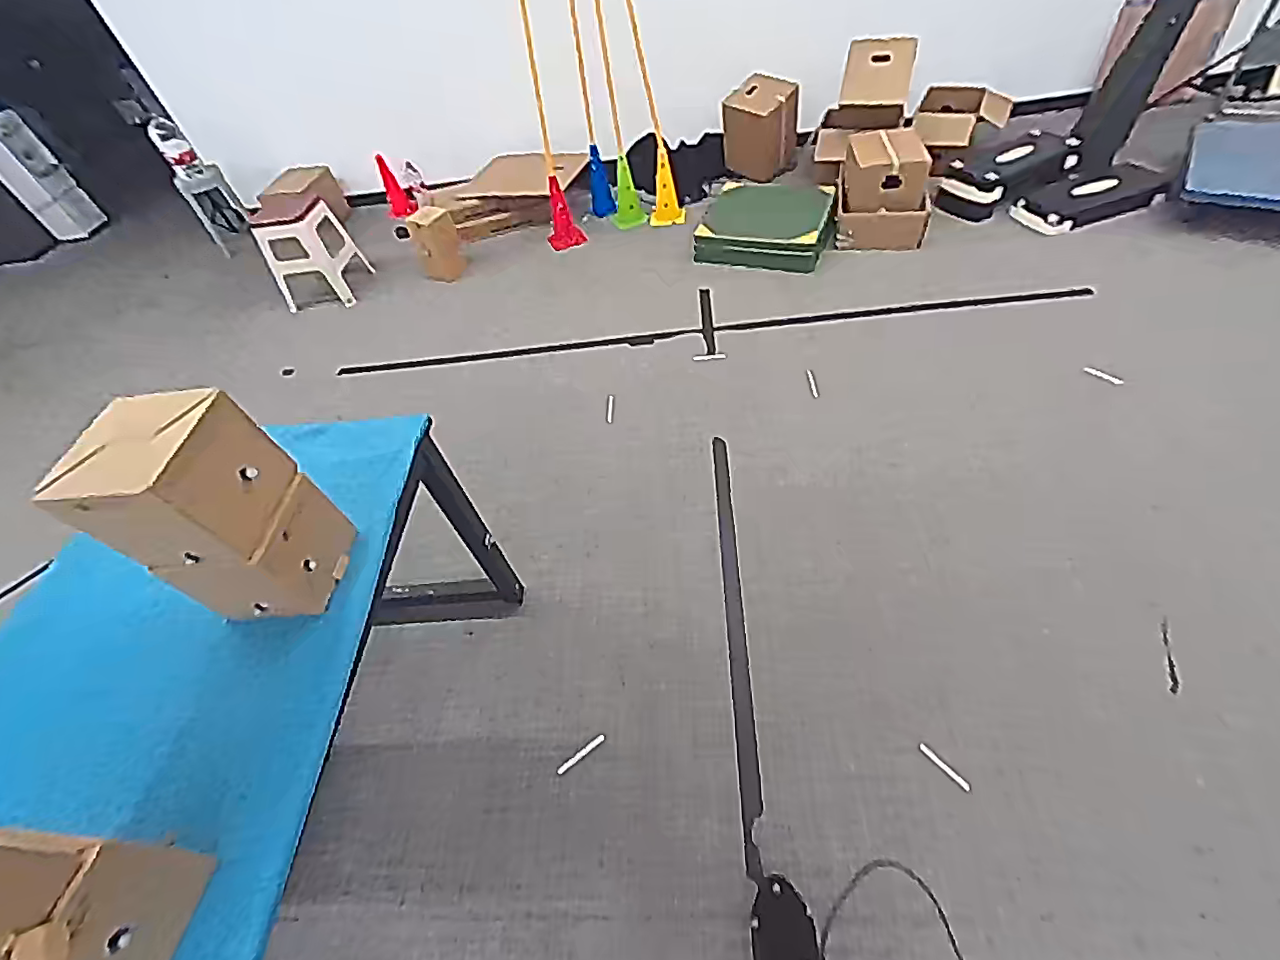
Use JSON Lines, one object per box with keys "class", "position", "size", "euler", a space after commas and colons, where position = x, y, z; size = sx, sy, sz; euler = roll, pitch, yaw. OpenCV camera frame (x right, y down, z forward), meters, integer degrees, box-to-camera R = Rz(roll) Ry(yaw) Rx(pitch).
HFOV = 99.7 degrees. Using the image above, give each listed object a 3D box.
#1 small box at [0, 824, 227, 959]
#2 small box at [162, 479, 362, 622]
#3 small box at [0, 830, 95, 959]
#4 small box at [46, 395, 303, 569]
{"class": "small box", "position": [-0.607, 0.472, 0.566], "size": [0.179, 0.176, 0.168], "euler": [-1, 50, 8]}
{"class": "small box", "position": [-0.593, 0.110, 0.866], "size": [0.179, 0.176, 0.168], "euler": [-6, 50, 6]}
{"class": "small box", "position": [-0.640, 0.374, 0.437], "size": [0.179, 0.176, 0.168], "euler": [3, 51, 10]}
{"class": "small box", "position": [-0.622, 0.003, 0.745], "size": [0.168, 0.176, 0.179], "euler": [-5, 53, 8]}
